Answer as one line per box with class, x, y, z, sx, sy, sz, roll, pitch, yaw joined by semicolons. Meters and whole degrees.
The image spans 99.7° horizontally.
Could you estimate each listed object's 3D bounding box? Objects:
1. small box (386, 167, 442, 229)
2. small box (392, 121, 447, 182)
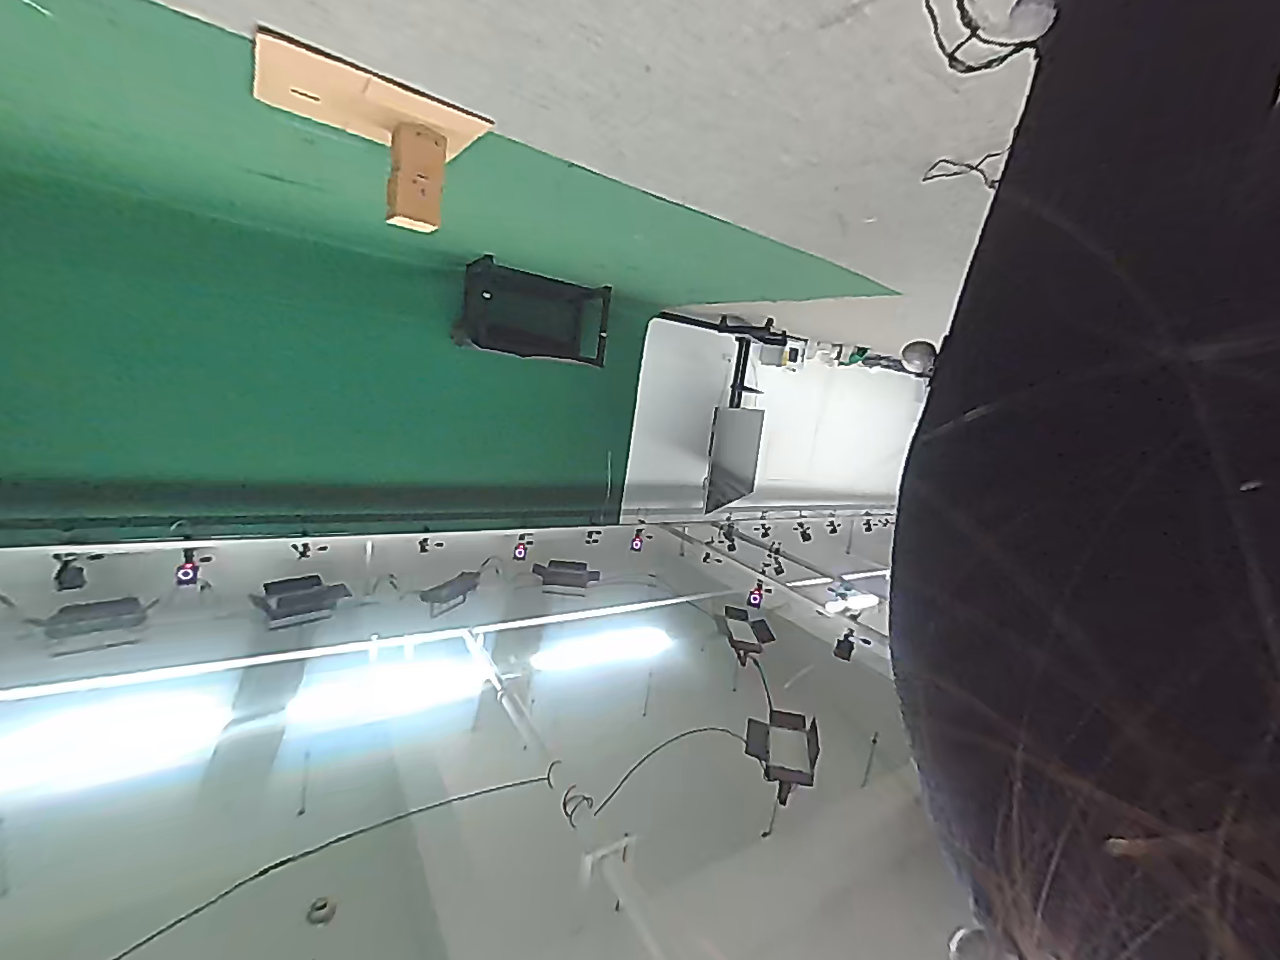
small box;-0.903;-1.125;2.163;0.168;0.176;0.179;0;-167;-39
small box;-0.868;-1.280;2.127;0.168;0.176;0.179;0;-165;-37
